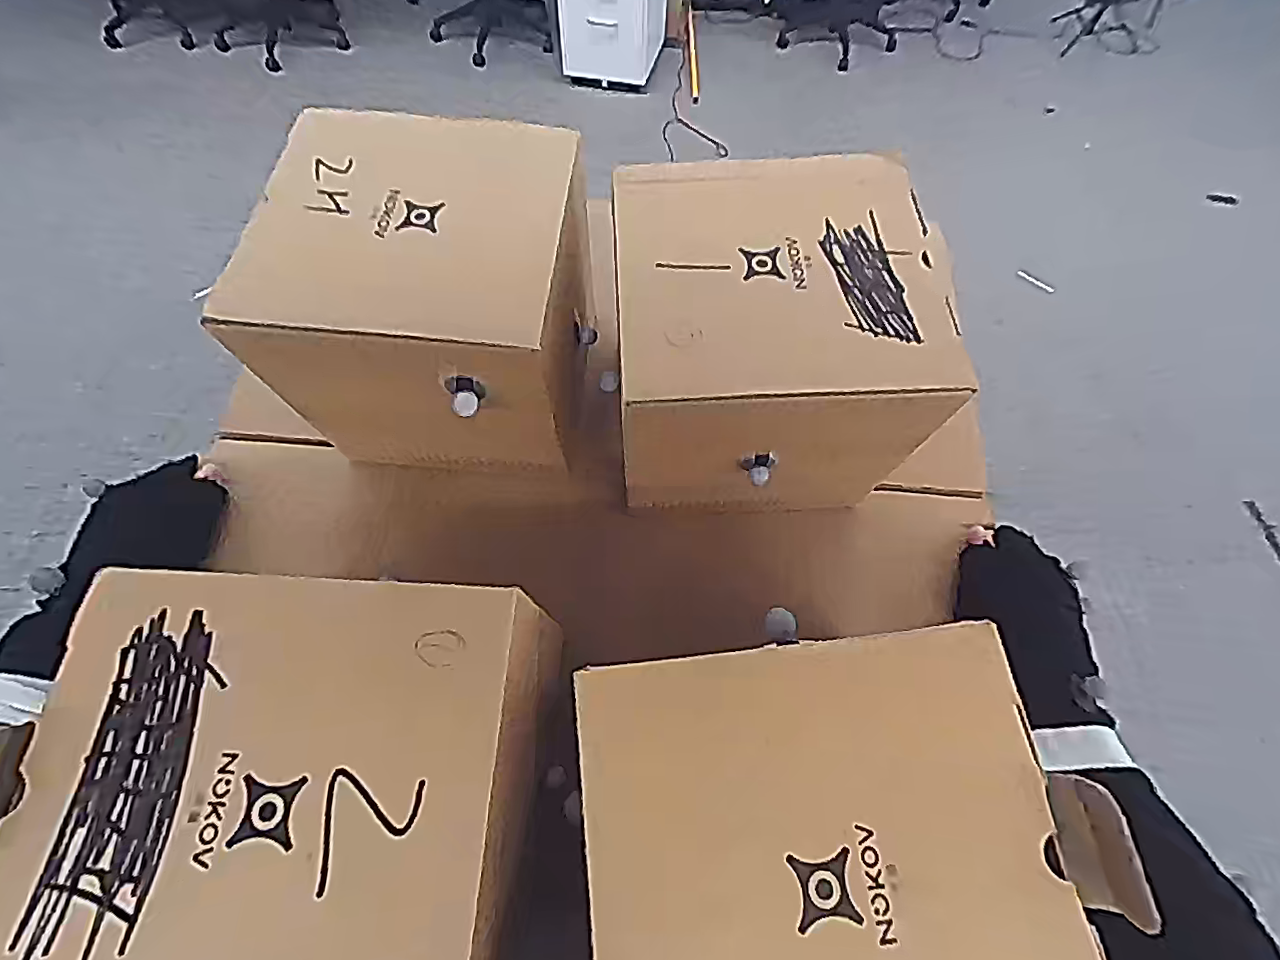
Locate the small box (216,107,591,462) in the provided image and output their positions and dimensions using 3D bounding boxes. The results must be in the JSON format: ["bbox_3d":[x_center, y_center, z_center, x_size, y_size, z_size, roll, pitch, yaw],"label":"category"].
[{"bbox_3d":[-0.133,-0.123,0.388,0.179,0.176,0.168,6,67,1],"label":"small box"}]
